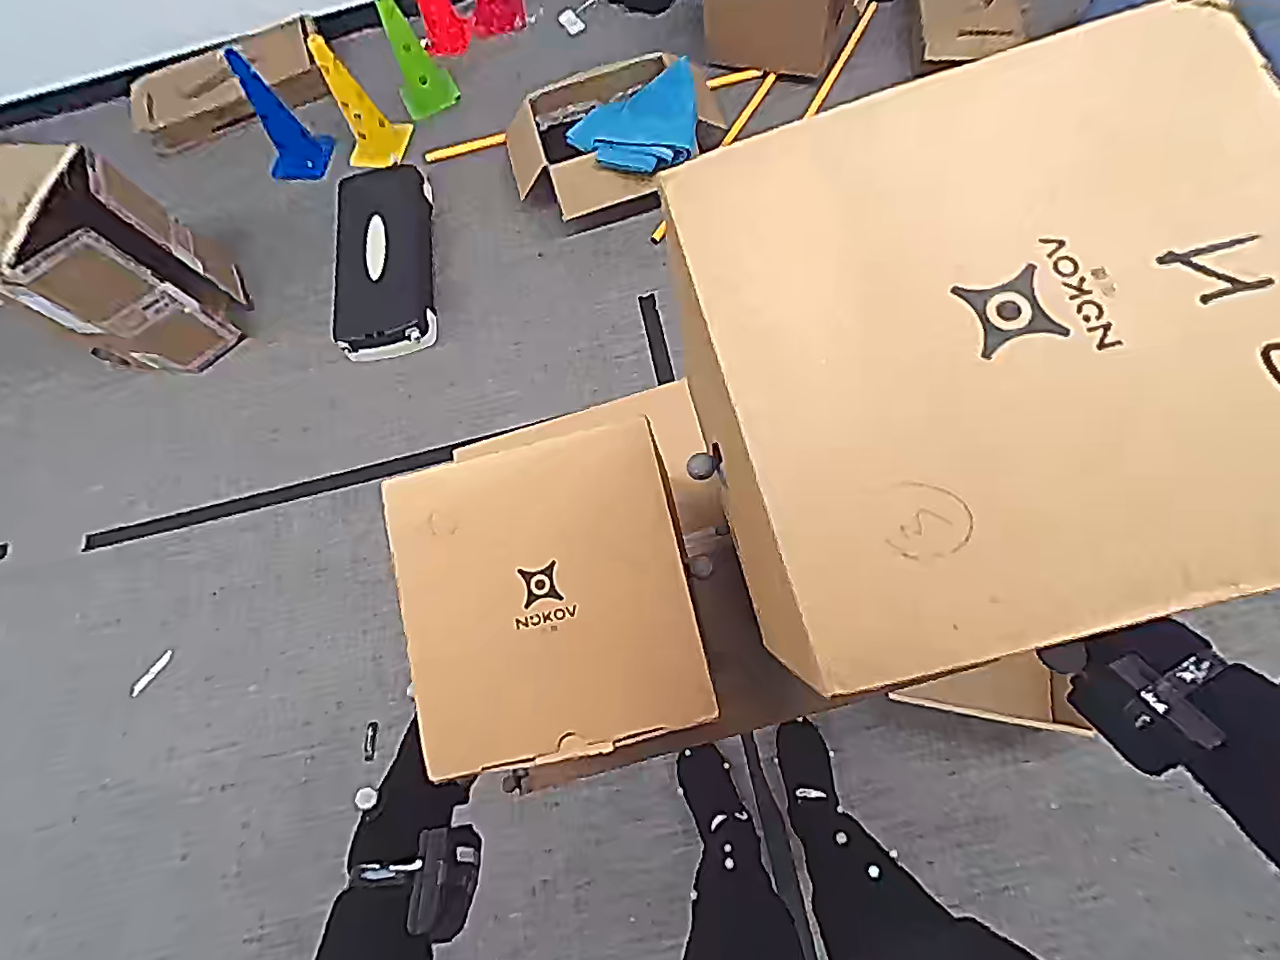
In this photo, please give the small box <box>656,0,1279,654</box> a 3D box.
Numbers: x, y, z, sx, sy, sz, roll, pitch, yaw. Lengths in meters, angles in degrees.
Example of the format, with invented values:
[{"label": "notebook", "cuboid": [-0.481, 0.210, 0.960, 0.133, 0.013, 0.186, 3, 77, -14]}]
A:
[{"label": "small box", "cuboid": [0.118, -0.033, 0.225, 0.179, 0.176, 0.168, -16, 75, 4]}]
